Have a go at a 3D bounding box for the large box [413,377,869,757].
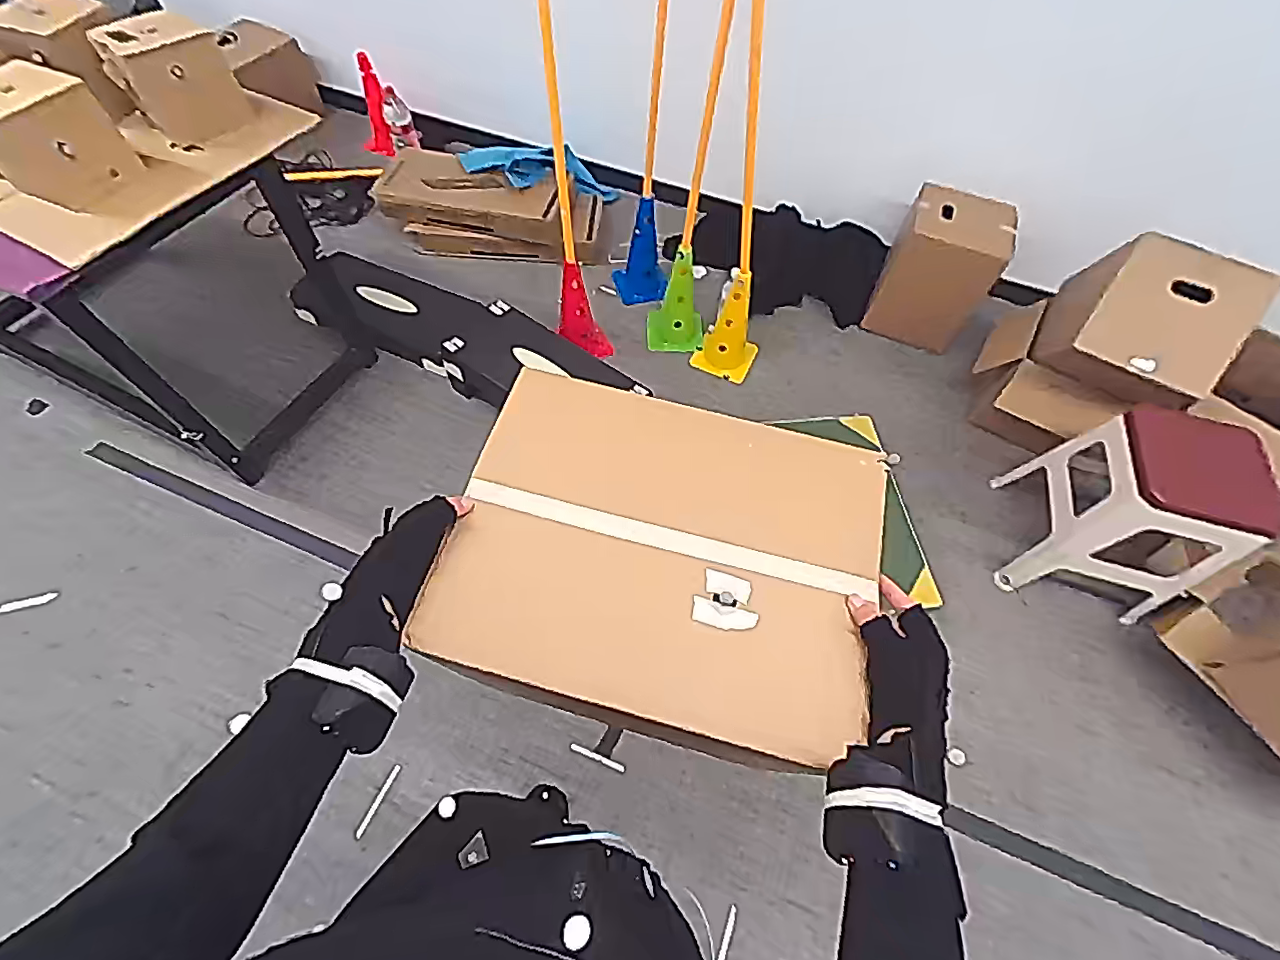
[{"bbox_3d":[0.013,0.124,0.667,0.408,0.320,0.320,14,65,4],"label":"large box"}]
